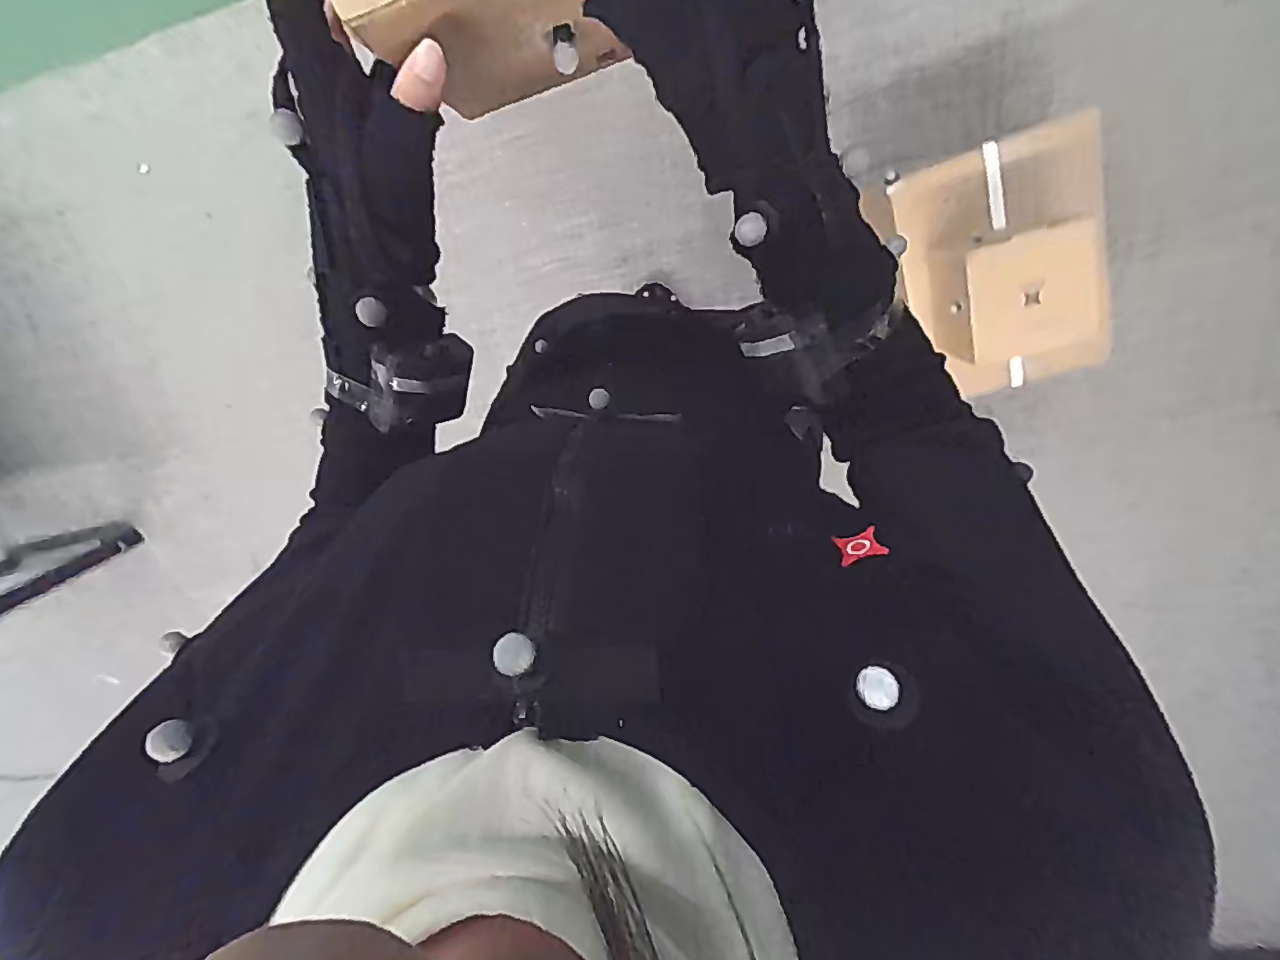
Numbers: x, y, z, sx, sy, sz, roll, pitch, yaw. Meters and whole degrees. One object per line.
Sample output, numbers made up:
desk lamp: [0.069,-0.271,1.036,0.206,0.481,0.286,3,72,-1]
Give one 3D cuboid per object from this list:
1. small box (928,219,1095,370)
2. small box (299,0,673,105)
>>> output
small box: [0.576,-0.294,0.856,0.168,0.176,0.179,-13,112,14]
small box: [-0.081,-0.310,0.258,0.168,0.176,0.179,-16,112,8]
